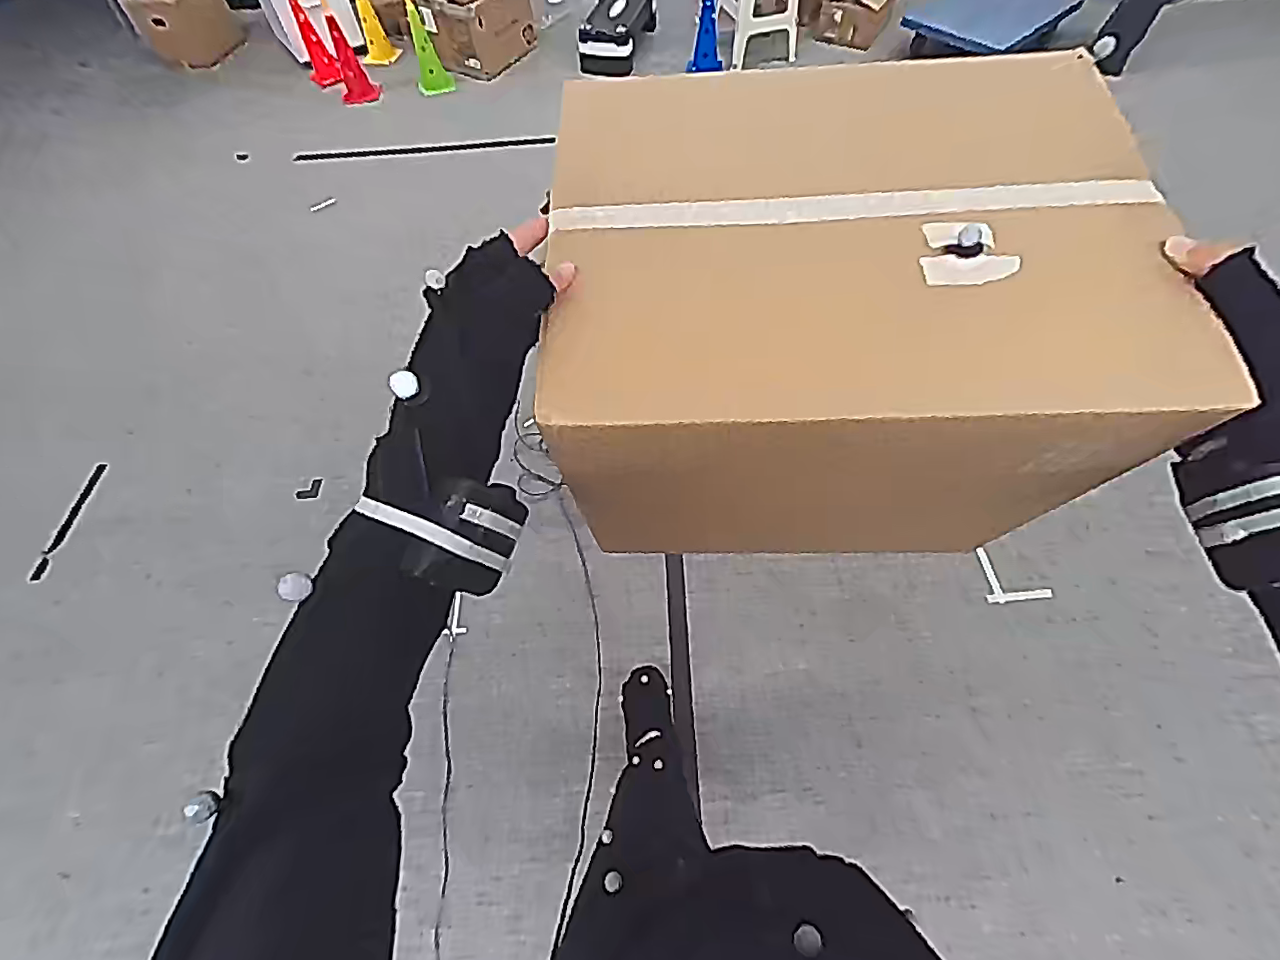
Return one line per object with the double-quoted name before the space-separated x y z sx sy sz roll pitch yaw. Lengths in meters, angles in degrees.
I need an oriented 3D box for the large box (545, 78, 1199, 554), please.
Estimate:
"large box" 0.141 -0.121 0.524 0.408 0.320 0.320 -1 68 3
